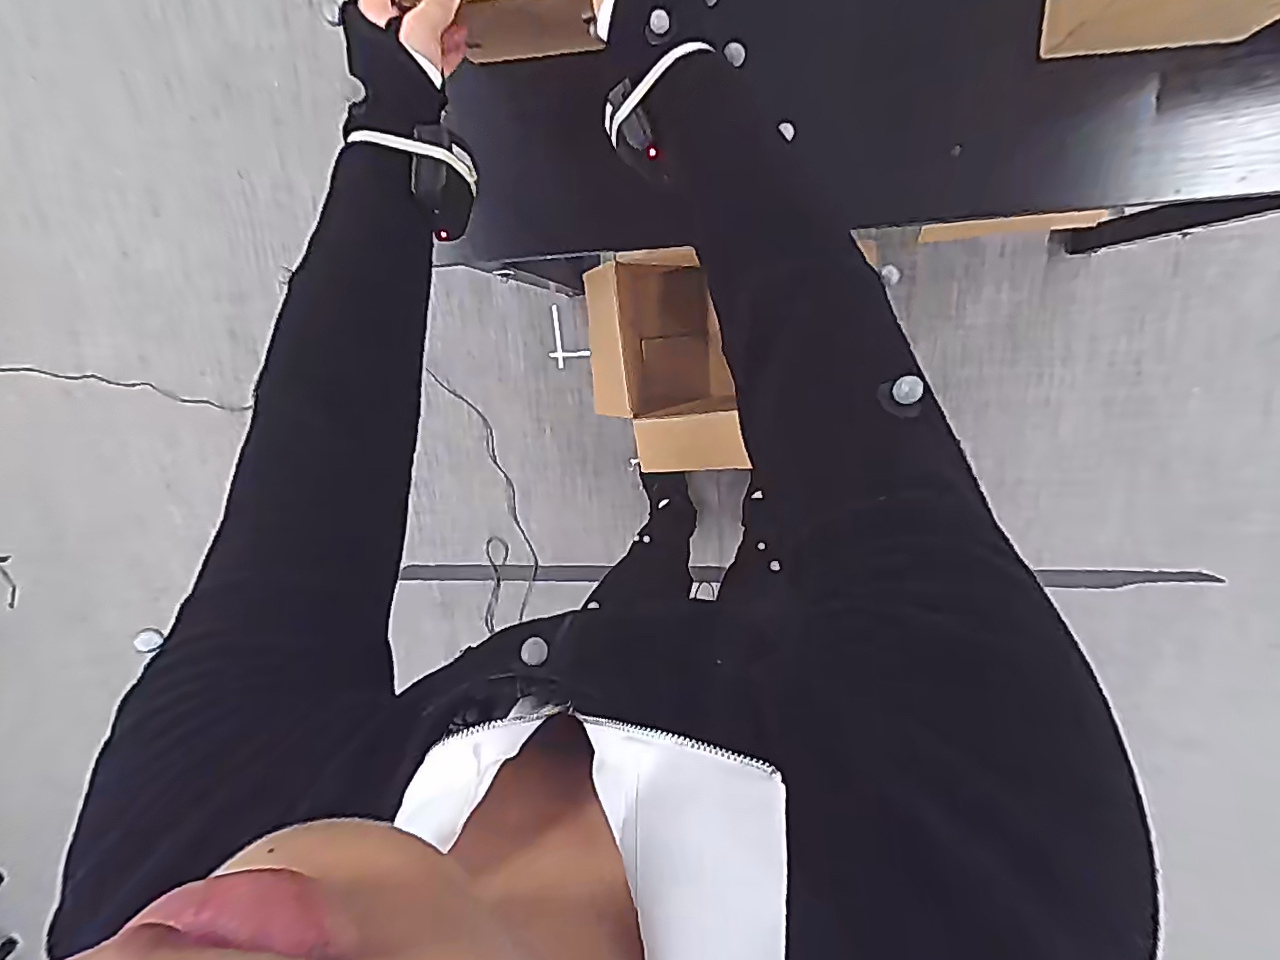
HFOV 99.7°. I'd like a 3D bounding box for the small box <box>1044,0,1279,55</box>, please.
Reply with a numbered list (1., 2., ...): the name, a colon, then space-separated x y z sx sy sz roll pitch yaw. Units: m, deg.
1. small box: 0.454 -0.459 0.411 0.179 0.176 0.168 0 105 6
